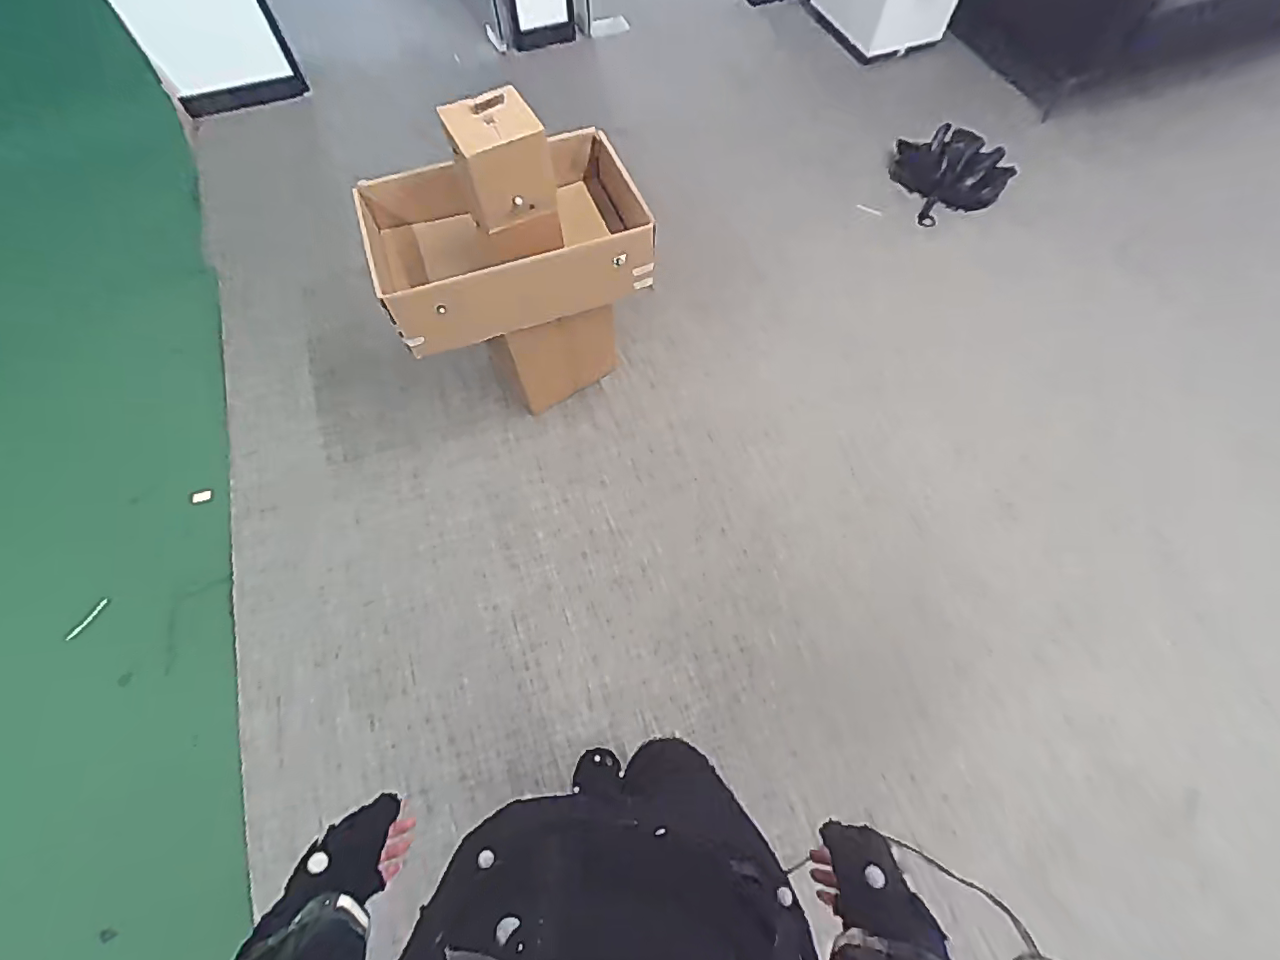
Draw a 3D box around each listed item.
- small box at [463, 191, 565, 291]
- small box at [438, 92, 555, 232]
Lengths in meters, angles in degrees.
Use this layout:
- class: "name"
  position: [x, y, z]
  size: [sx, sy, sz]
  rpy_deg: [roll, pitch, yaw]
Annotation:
- class: "small box"
  position: [-0.293, -0.587, 1.281]
  size: [0.168, 0.176, 0.179]
  rpy_deg: [-26, 67, -11]
- class: "small box"
  position: [-0.295, -0.662, 1.135]
  size: [0.168, 0.176, 0.179]
  rpy_deg: [-26, 66, -10]
